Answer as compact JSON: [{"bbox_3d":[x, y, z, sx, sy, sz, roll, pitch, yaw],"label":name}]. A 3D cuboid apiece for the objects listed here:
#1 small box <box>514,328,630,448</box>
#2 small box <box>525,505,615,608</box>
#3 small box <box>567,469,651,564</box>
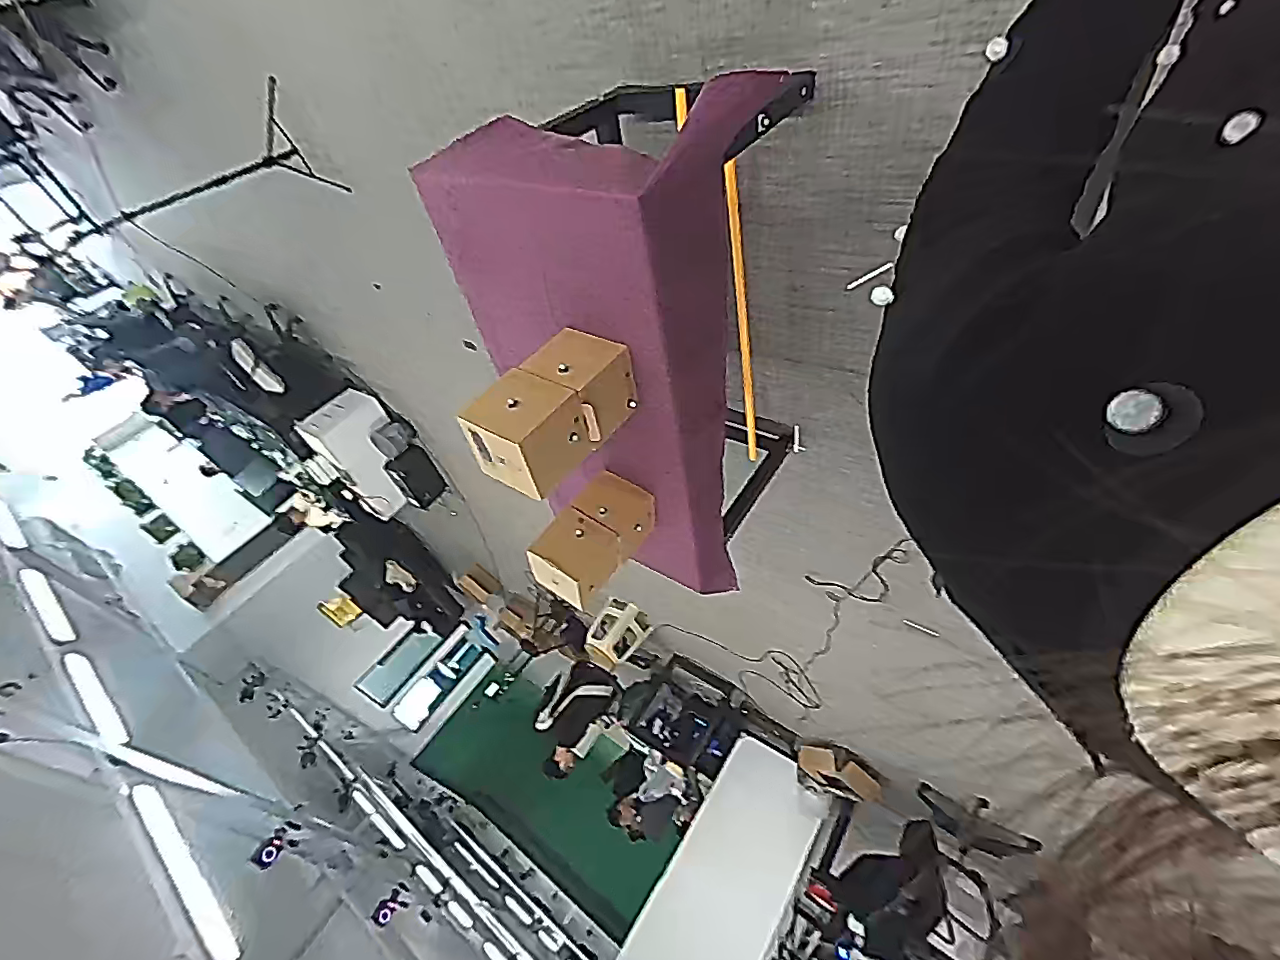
[{"bbox_3d":[-0.135,-0.204,1.168,0.179,0.176,0.168,25,147,28],"label":"small box"},{"bbox_3d":[-0.177,0.201,1.434,0.168,0.176,0.179,28,147,19],"label":"small box"},{"bbox_3d":[-0.082,0.097,1.518,0.179,0.176,0.168,29,148,21],"label":"small box"}]
